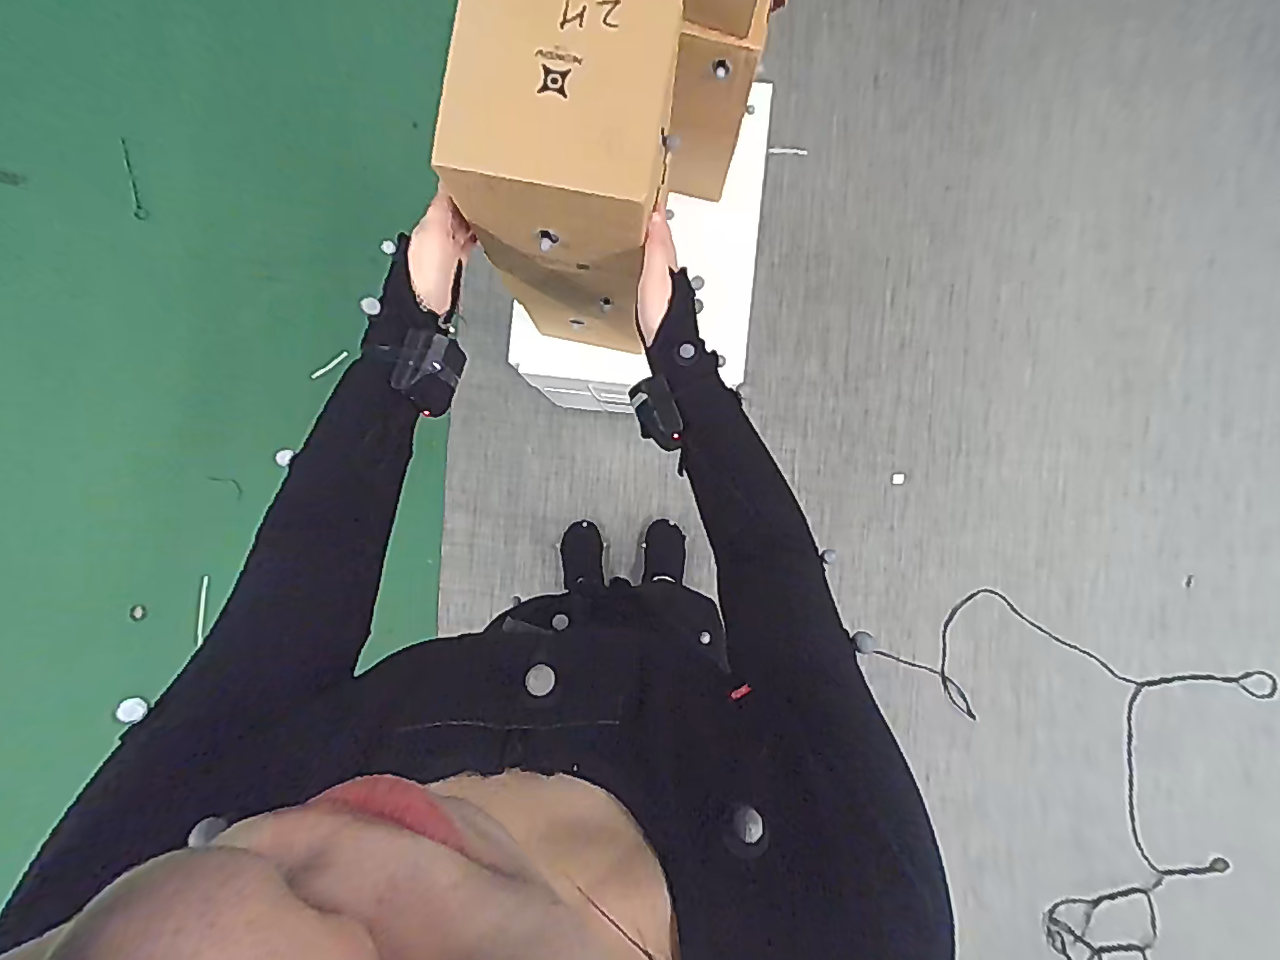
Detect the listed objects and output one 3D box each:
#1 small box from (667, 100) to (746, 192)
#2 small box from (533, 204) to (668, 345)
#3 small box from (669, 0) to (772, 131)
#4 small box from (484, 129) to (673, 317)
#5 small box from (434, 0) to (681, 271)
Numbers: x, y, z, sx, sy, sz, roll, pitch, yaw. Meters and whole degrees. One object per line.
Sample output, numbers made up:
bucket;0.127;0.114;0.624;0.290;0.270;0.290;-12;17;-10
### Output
small box;0.067;-0.566;0.813;0.179;0.176;0.168;13;91;0
small box;-0.064;-0.314;0.815;0.179;0.176;0.168;12;90;-2
small box;0.062;-0.560;0.650;0.179;0.176;0.168;12;91;-1
small box;-0.065;-0.310;0.653;0.179;0.176;0.168;11;89;0
small box;-0.063;-0.312;0.488;0.168;0.176;0.179;10;89;-2
